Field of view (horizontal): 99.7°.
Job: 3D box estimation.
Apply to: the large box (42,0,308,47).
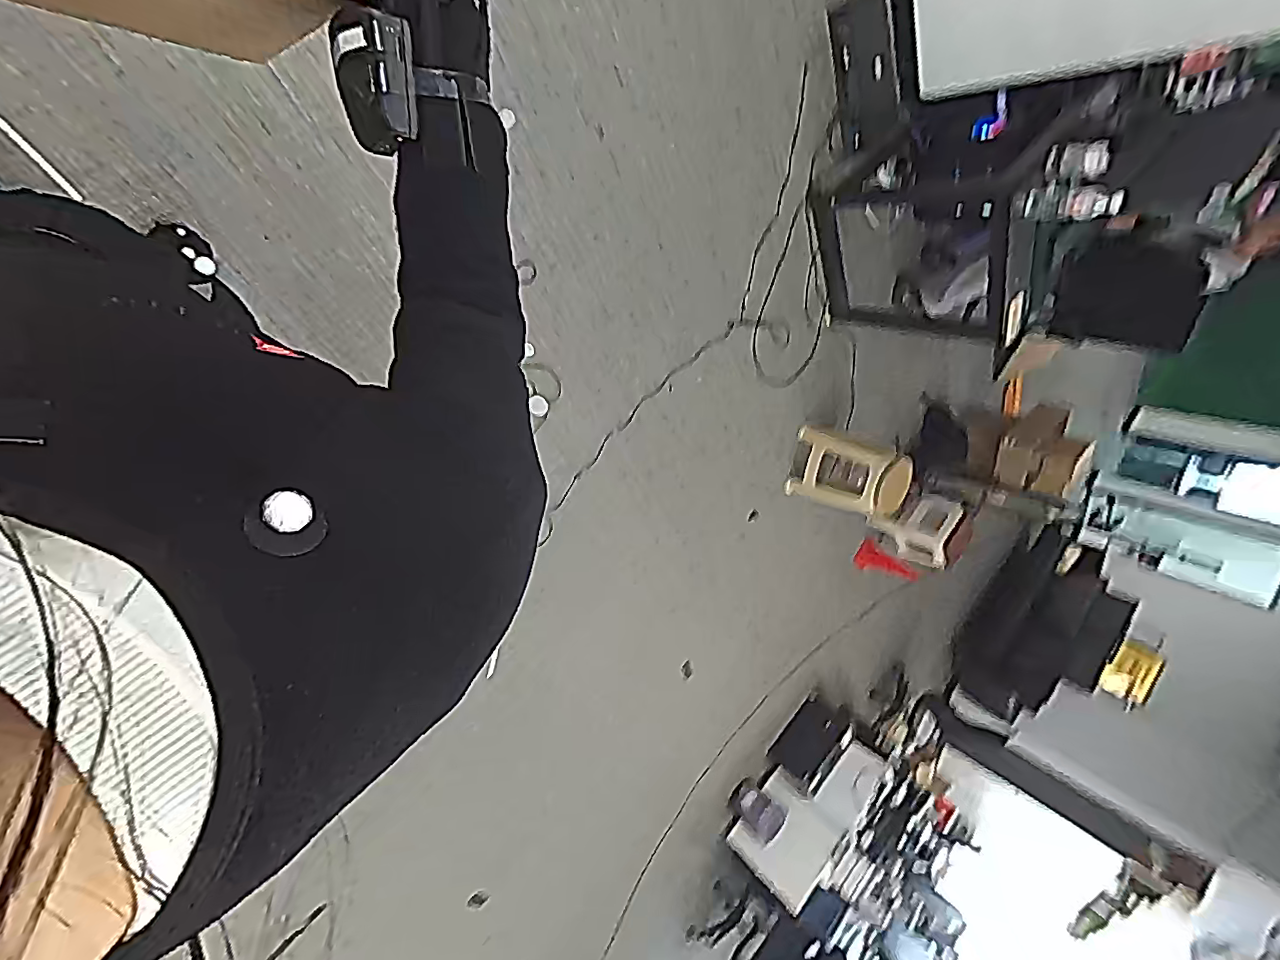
[{"bbox_3d":[-0.393,-0.431,0.212,0.408,0.320,0.320,-16,124,-39],"label":"large box"}]
